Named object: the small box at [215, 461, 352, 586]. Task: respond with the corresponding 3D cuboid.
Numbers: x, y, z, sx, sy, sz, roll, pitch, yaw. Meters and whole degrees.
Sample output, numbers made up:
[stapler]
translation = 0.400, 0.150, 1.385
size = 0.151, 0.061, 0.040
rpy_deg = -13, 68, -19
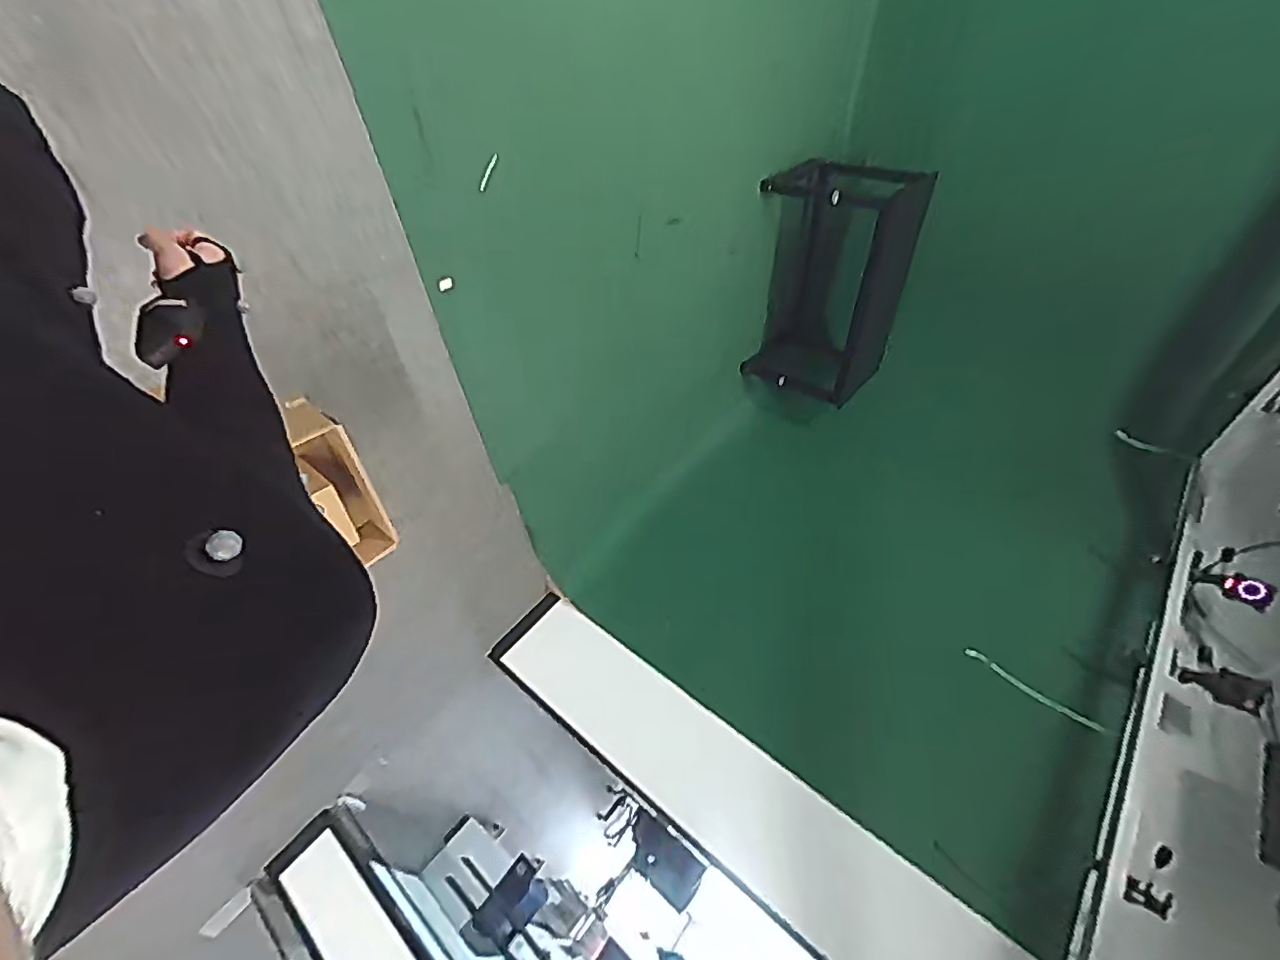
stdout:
[small box]
translation = -0.774, 0.089, 1.181
size = 0.168, 0.176, 0.179
rpy_deg = -38, 144, -36
